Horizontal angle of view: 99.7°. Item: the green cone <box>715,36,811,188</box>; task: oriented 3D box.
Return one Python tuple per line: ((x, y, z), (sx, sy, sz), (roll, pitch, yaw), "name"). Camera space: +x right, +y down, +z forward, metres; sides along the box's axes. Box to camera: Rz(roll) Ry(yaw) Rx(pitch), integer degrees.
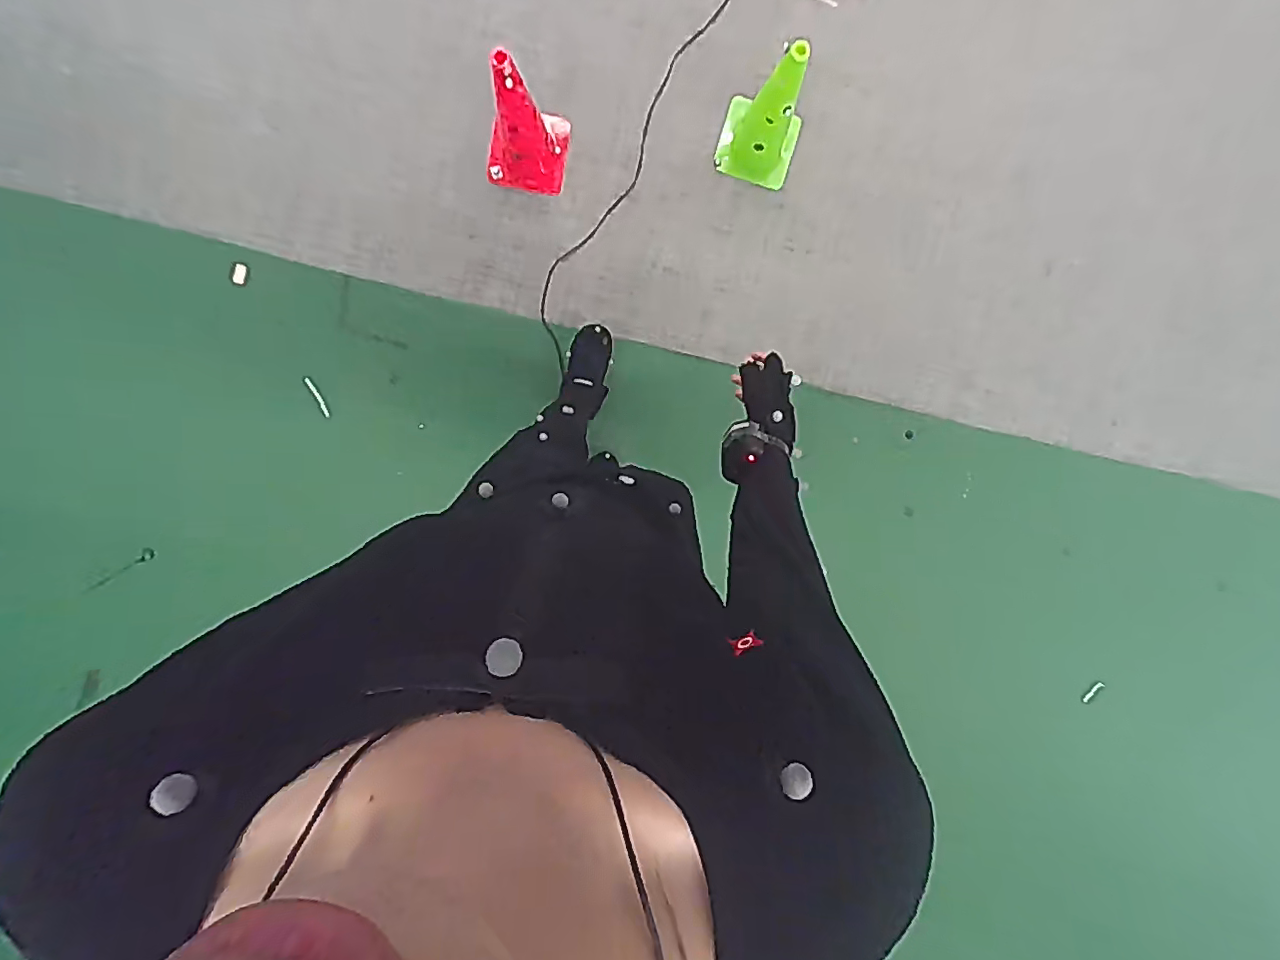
((0.325, -0.892, 1.280), (0.200, 0.368, 0.202), (15, 92, -4), "green cone")
